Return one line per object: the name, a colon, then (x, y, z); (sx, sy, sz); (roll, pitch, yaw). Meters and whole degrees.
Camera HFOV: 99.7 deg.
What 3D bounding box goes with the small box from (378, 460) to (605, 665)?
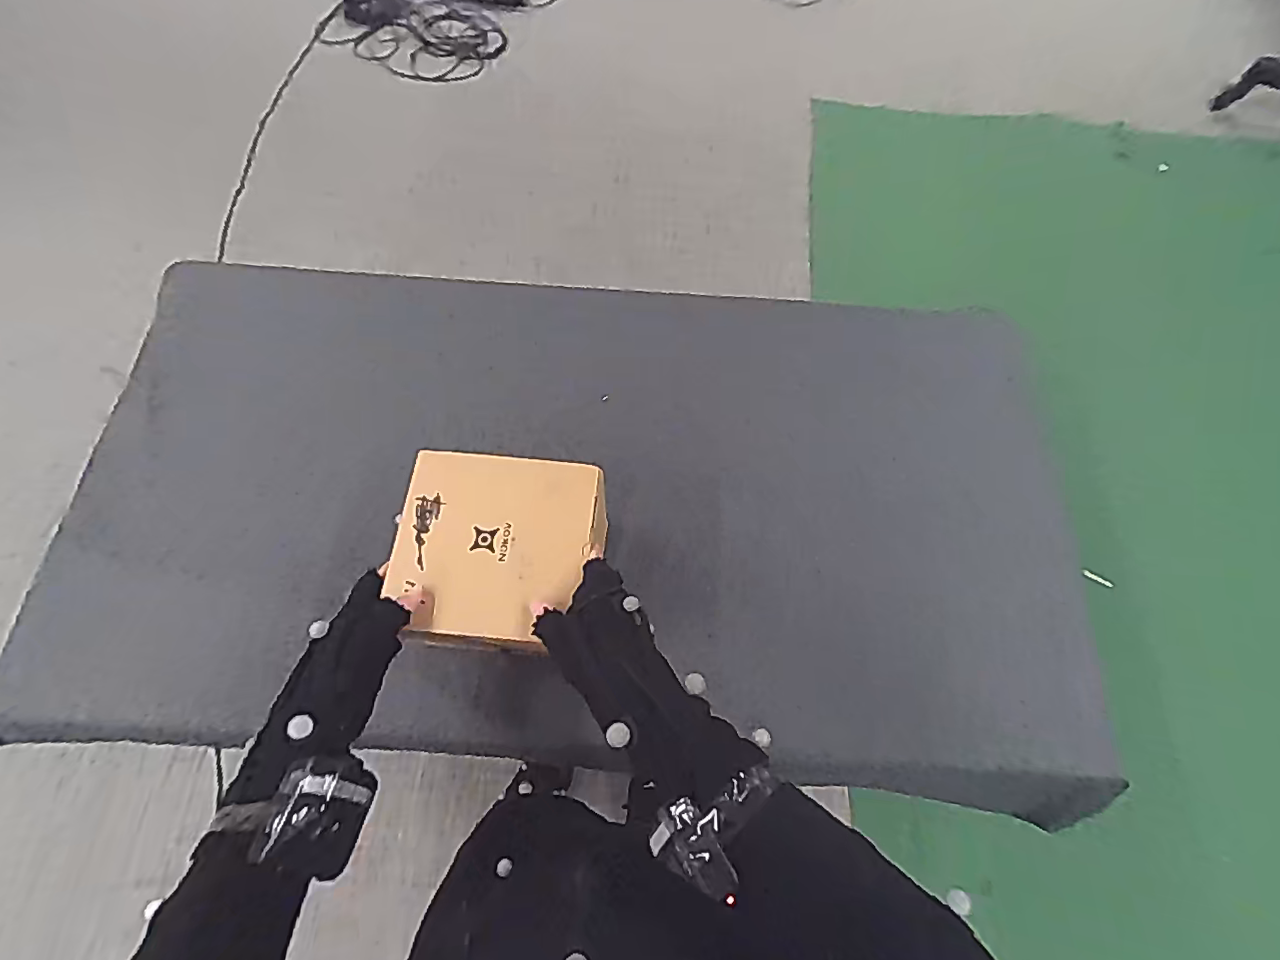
small box: (-0.131, 0.094, 0.556); (0.179, 0.176, 0.168); (5, 67, 0)
